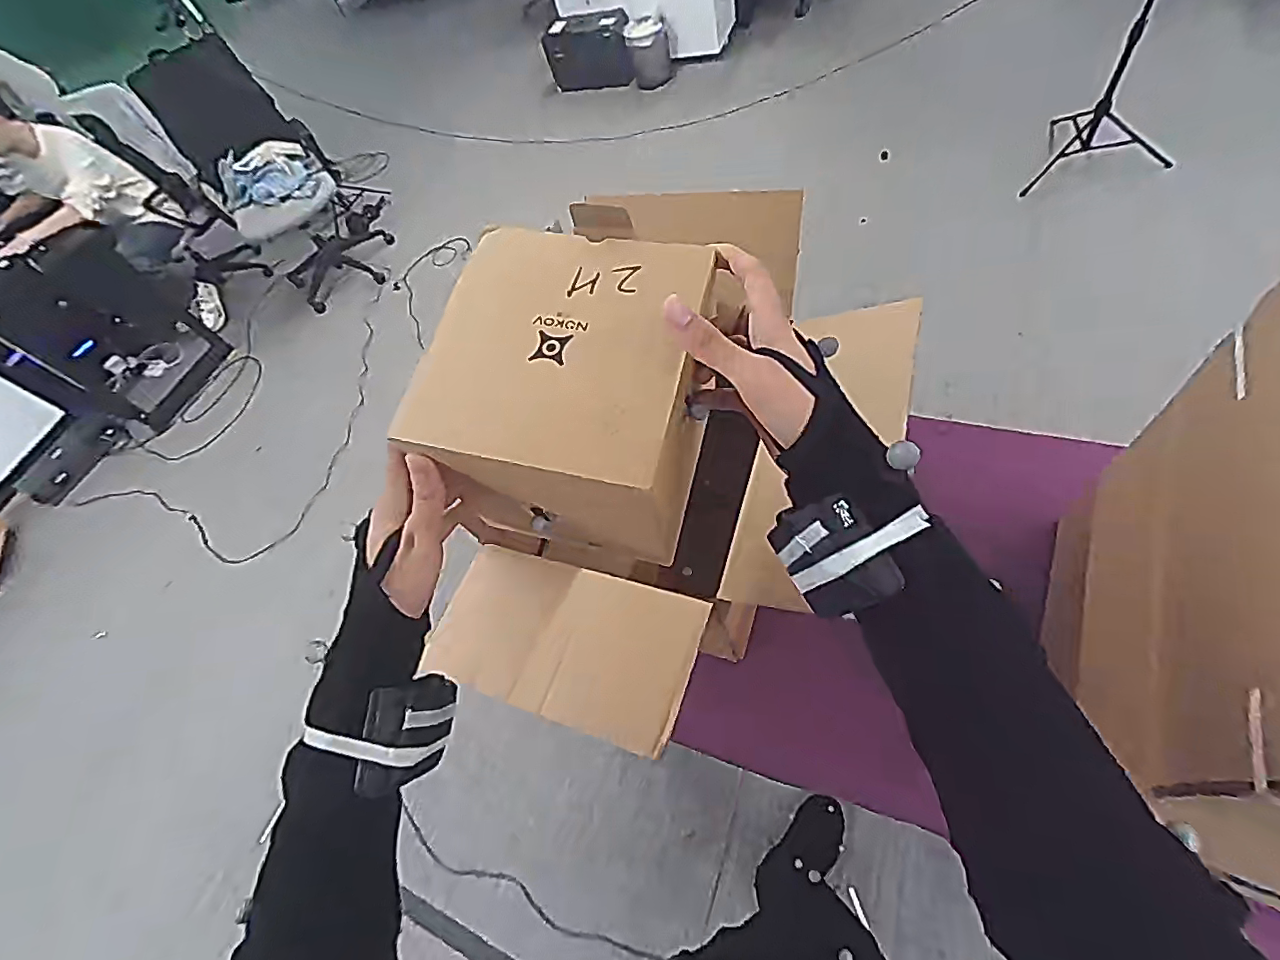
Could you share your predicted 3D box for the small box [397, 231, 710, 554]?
[{"bbox_3d":[-0.042,-0.057,0.420,0.168,0.176,0.179,12,68,13],"label":"small box"}]
